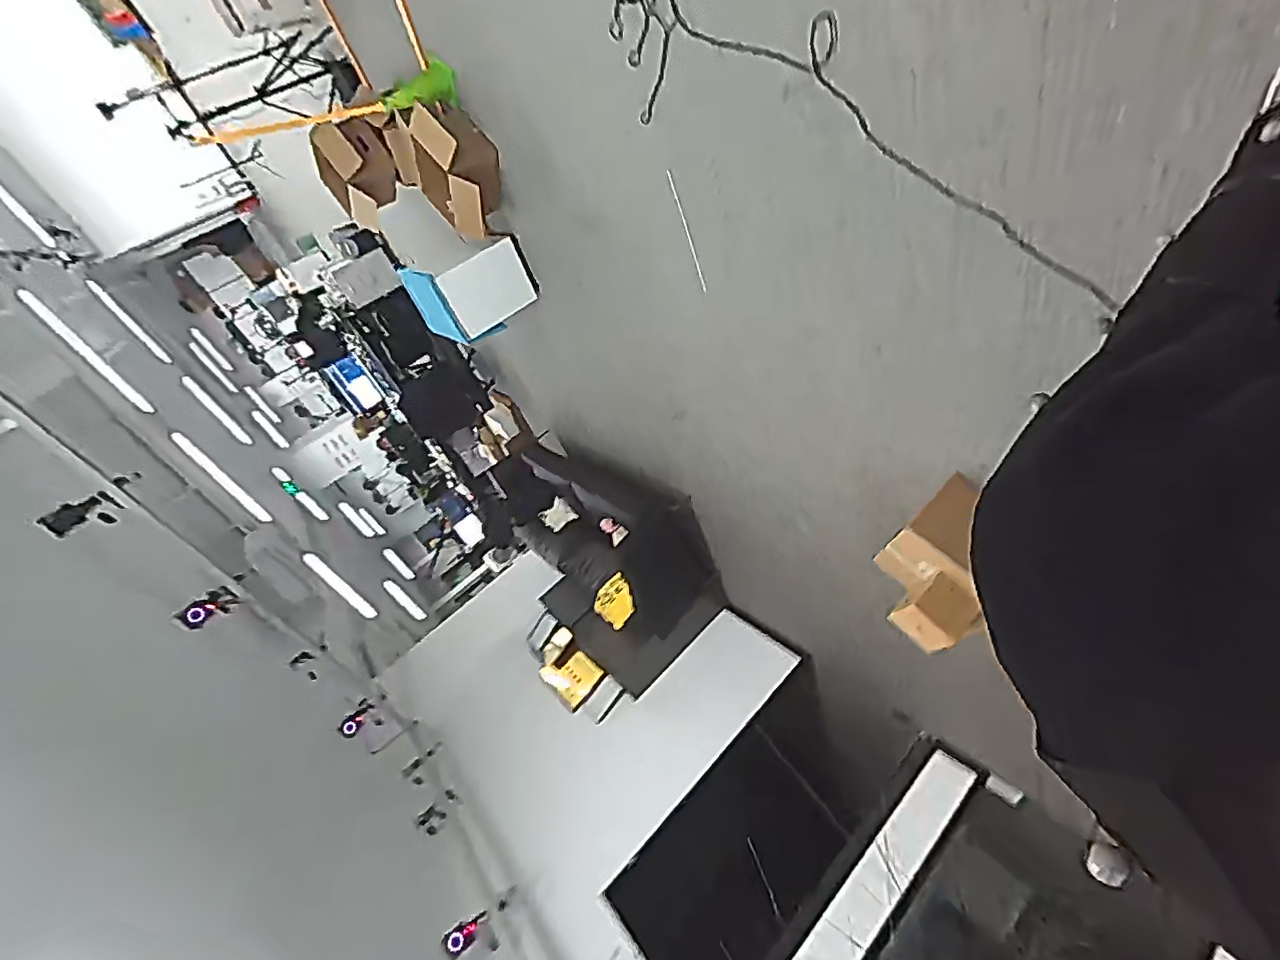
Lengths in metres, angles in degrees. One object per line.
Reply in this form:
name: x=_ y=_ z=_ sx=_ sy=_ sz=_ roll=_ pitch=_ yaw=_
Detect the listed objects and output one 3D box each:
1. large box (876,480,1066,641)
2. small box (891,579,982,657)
large box: x=1.130 y=0.279 z=1.881 sx=0.408 sy=0.320 sz=0.320 roll=44 pitch=159 yaw=22
small box: x=0.983 y=0.457 z=1.792 sx=0.168 sy=0.176 sz=0.179 roll=44 pitch=160 yaw=17
